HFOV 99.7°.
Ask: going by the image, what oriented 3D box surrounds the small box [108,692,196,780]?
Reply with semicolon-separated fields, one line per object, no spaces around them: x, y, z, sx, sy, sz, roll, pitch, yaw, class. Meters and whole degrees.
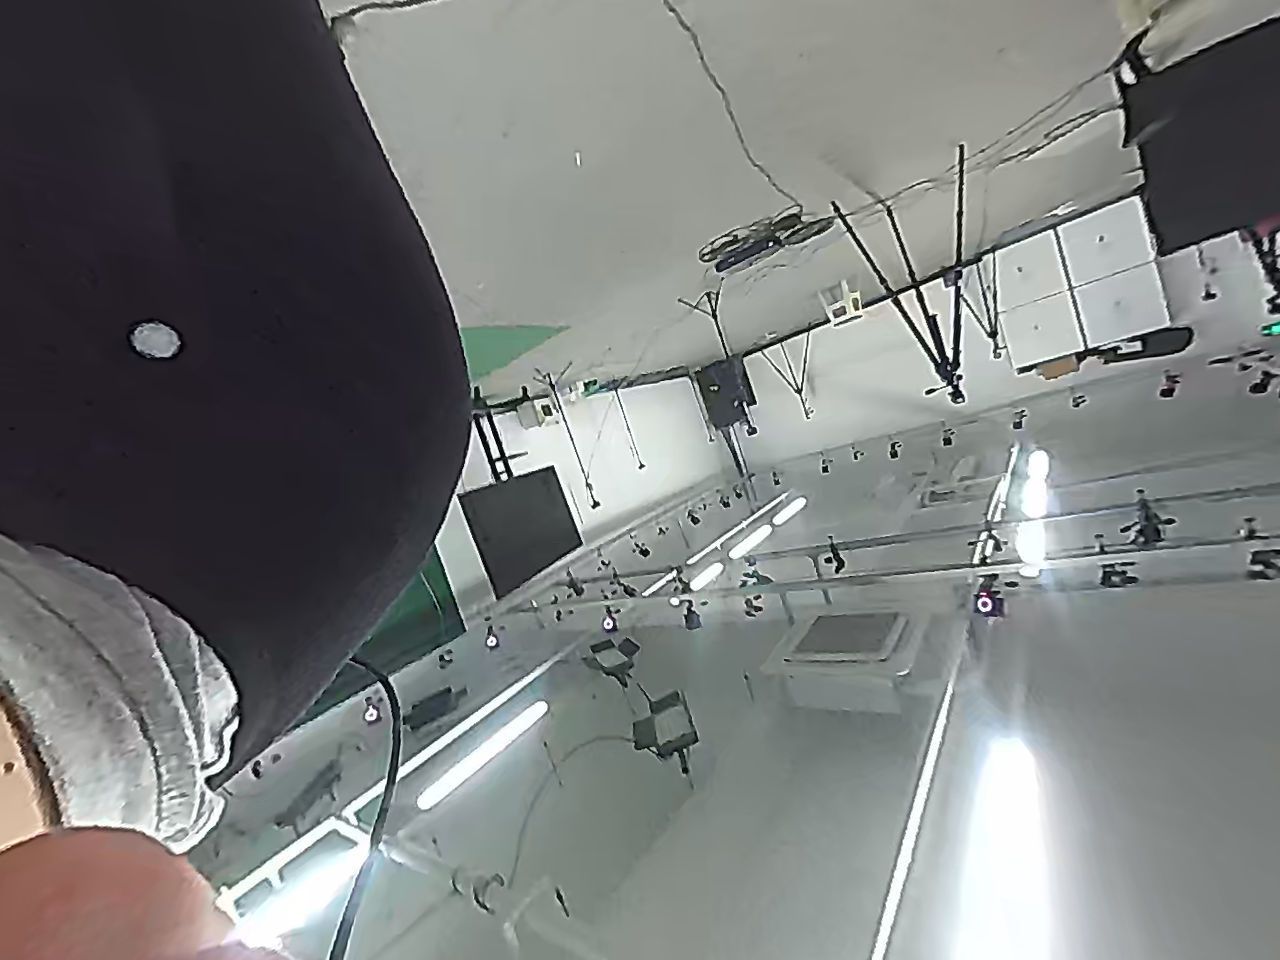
-1.511;0.784;1.677;0.168;0.176;0.179;-20;-175;-41;small box
